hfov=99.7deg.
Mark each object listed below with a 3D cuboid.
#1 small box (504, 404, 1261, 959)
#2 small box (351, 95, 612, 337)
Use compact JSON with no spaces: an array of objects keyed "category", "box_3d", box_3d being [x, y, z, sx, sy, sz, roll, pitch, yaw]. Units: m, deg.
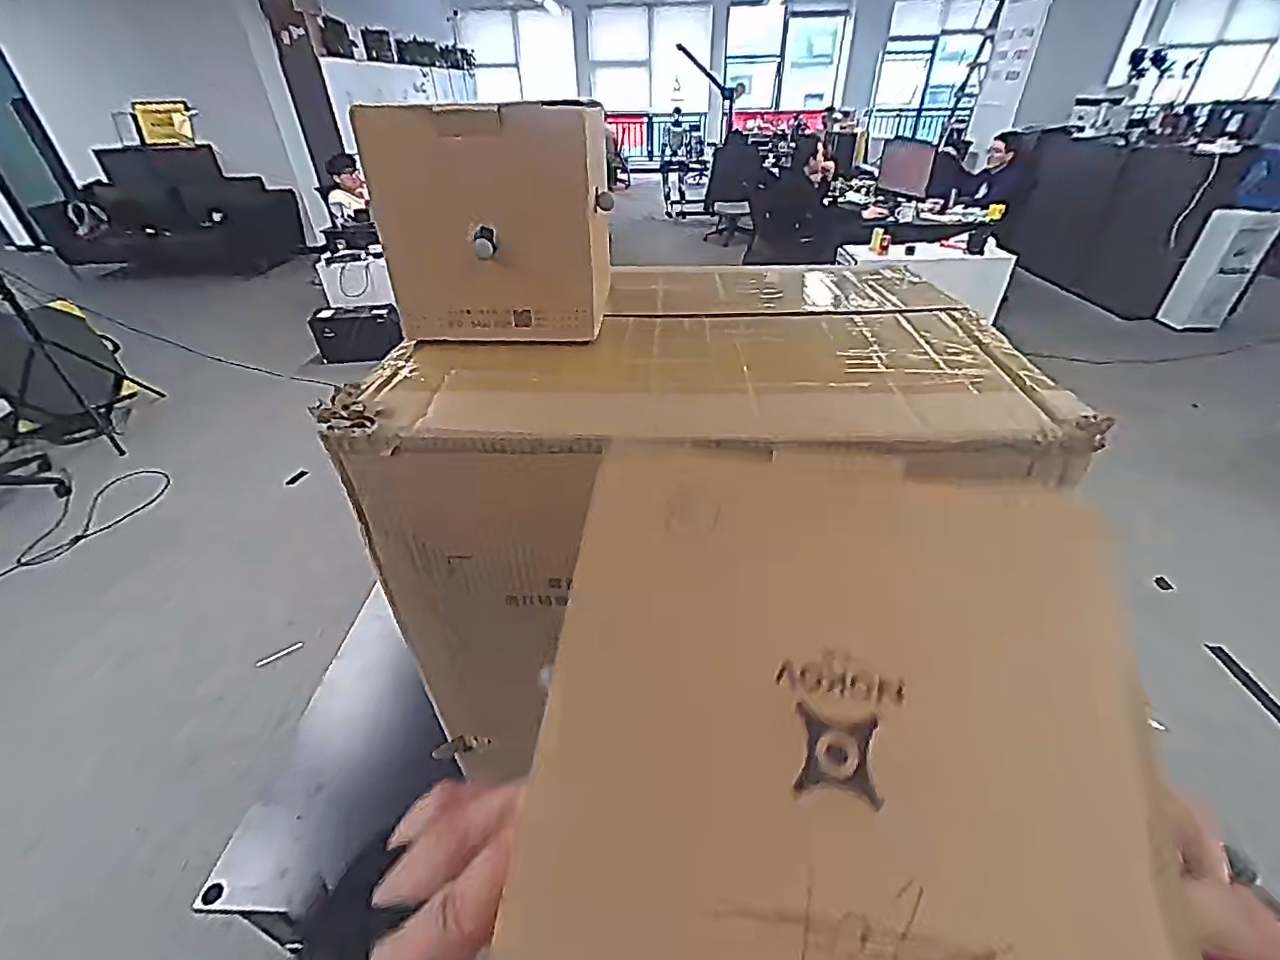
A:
[{"category":"small box","box_3d":[0.062,0.094,0.214,0.168,0.176,0.179,6,67,6]},{"category":"small box","box_3d":[-0.113,-0.233,0.478,0.168,0.176,0.179,0,35,1]}]
